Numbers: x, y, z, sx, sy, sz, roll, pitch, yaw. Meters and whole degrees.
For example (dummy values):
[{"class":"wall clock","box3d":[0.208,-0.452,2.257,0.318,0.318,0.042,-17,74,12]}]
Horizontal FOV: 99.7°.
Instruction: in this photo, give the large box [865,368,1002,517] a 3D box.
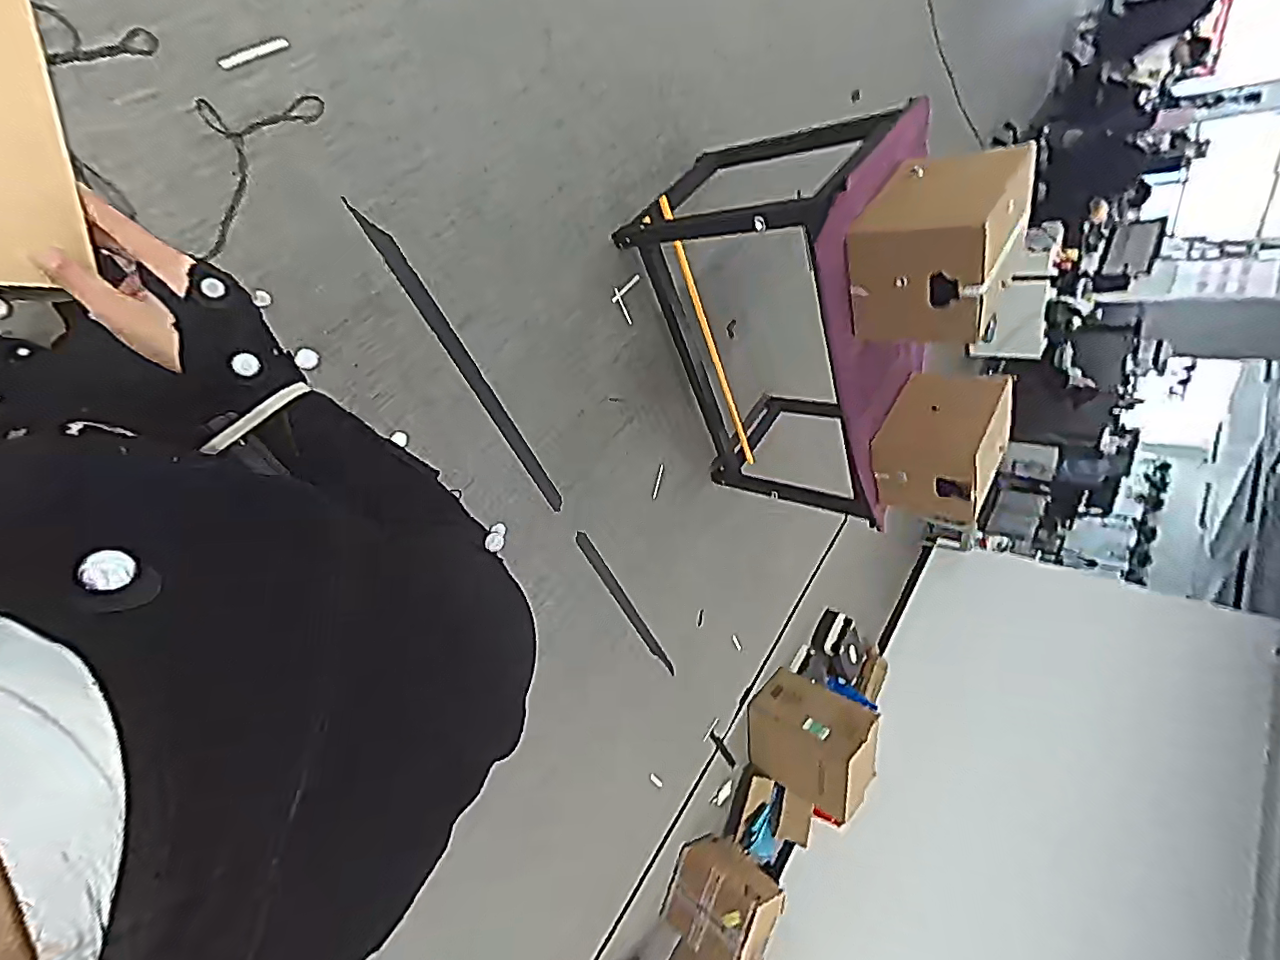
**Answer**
[{"class":"large box","box3d":[1.016,-0.142,1.869,0.408,0.320,0.320,-52,135,-26]}]

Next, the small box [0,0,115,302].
[{"class":"small box","box3d":[-0.451,-0.194,0.306,0.179,0.176,0.168,-18,112,-51]}]
